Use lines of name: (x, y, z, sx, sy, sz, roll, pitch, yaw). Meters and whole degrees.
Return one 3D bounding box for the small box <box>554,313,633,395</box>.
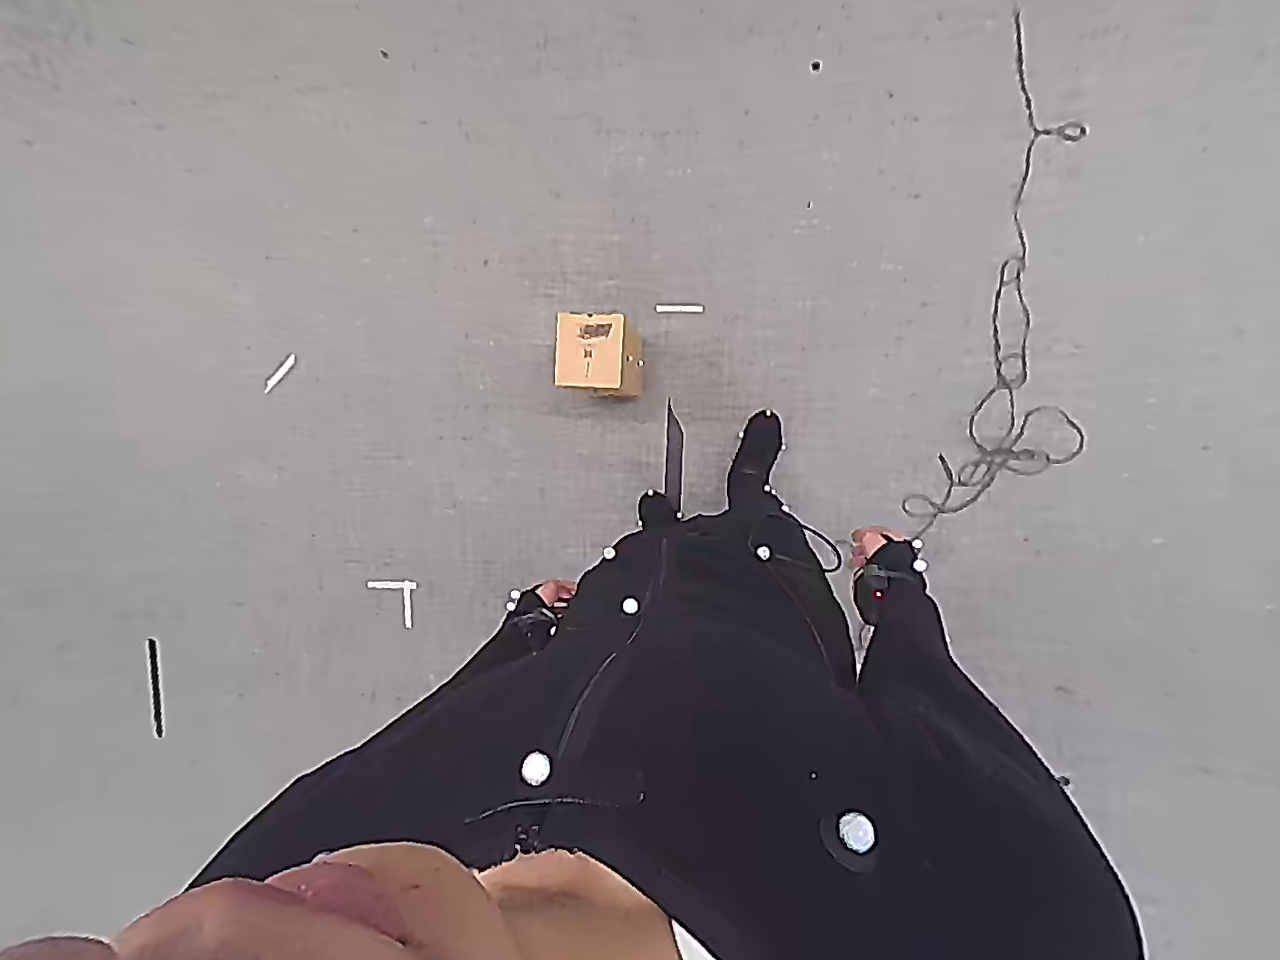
small box: (-0.112, -0.316, 1.376, 0.168, 0.176, 0.179, 4, 96, 8)
